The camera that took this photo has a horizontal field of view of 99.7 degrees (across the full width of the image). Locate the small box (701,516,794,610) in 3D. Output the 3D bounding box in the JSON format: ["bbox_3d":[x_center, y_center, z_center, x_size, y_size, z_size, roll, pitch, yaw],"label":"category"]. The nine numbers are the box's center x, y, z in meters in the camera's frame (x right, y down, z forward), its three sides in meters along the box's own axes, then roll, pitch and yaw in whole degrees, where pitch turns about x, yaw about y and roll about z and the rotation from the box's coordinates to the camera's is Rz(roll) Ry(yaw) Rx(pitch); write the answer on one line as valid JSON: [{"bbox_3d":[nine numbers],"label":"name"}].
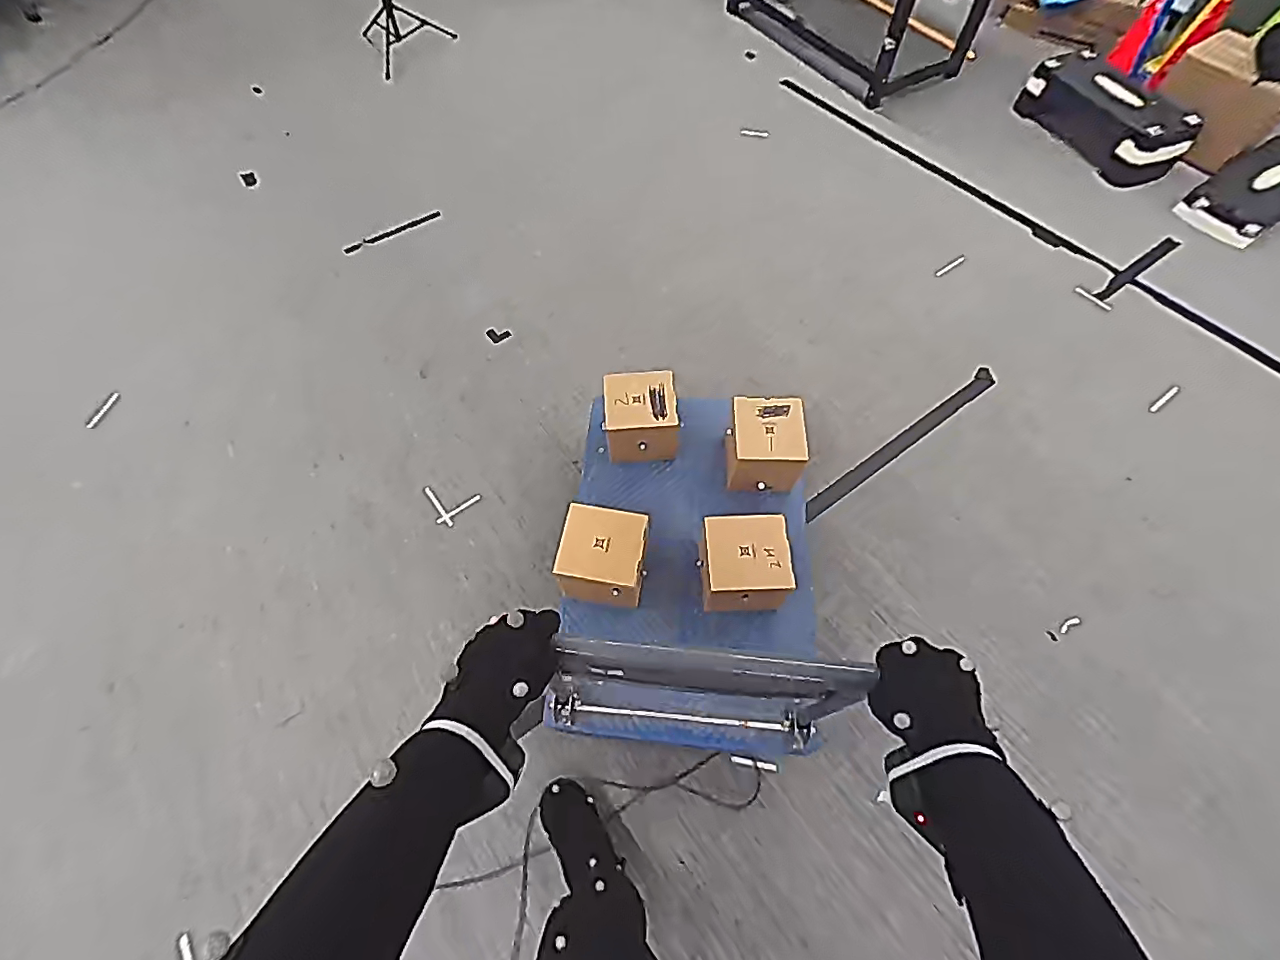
[{"bbox_3d":[0.228,0.187,1.196,0.179,0.176,0.168,-1,63,0],"label":"small box"}]

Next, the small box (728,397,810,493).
[{"bbox_3d":[0.311,-0.085,1.336,0.168,0.176,0.179,2,64,2],"label":"small box"}]

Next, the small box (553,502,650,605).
[{"bbox_3d":[-0.080,0.169,1.212,0.179,0.176,0.168,10,63,4],"label":"small box"}]
